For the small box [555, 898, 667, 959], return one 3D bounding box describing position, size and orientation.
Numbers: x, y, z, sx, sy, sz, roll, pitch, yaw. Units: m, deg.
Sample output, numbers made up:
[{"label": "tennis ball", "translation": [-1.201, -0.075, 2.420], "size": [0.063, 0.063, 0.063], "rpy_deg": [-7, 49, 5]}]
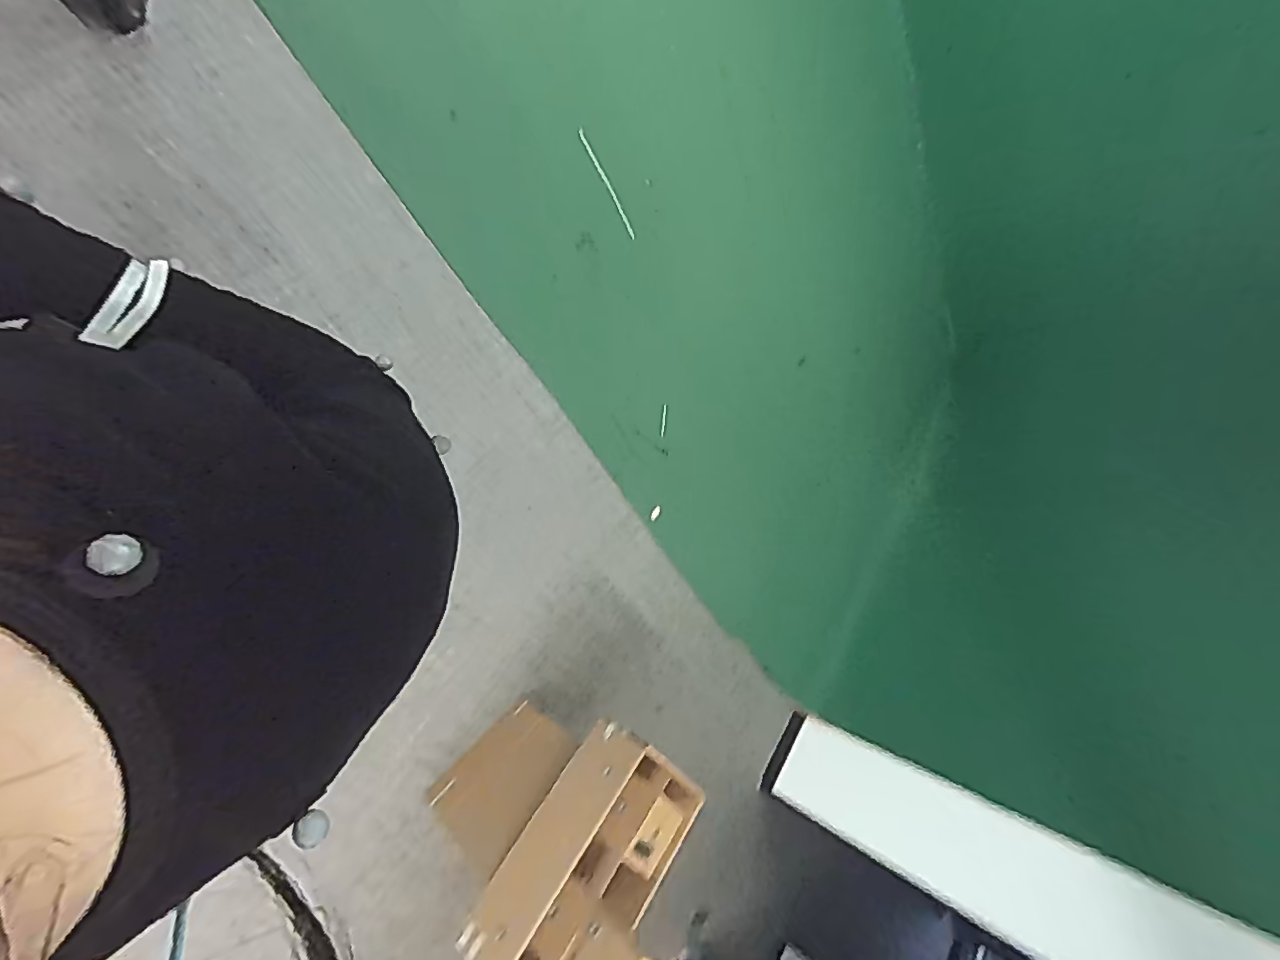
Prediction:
[{"label": "small box", "translation": [-0.071, 1.145, 1.285], "size": [0.168, 0.176, 0.179], "rpy_deg": [-49, 128, -25]}]
